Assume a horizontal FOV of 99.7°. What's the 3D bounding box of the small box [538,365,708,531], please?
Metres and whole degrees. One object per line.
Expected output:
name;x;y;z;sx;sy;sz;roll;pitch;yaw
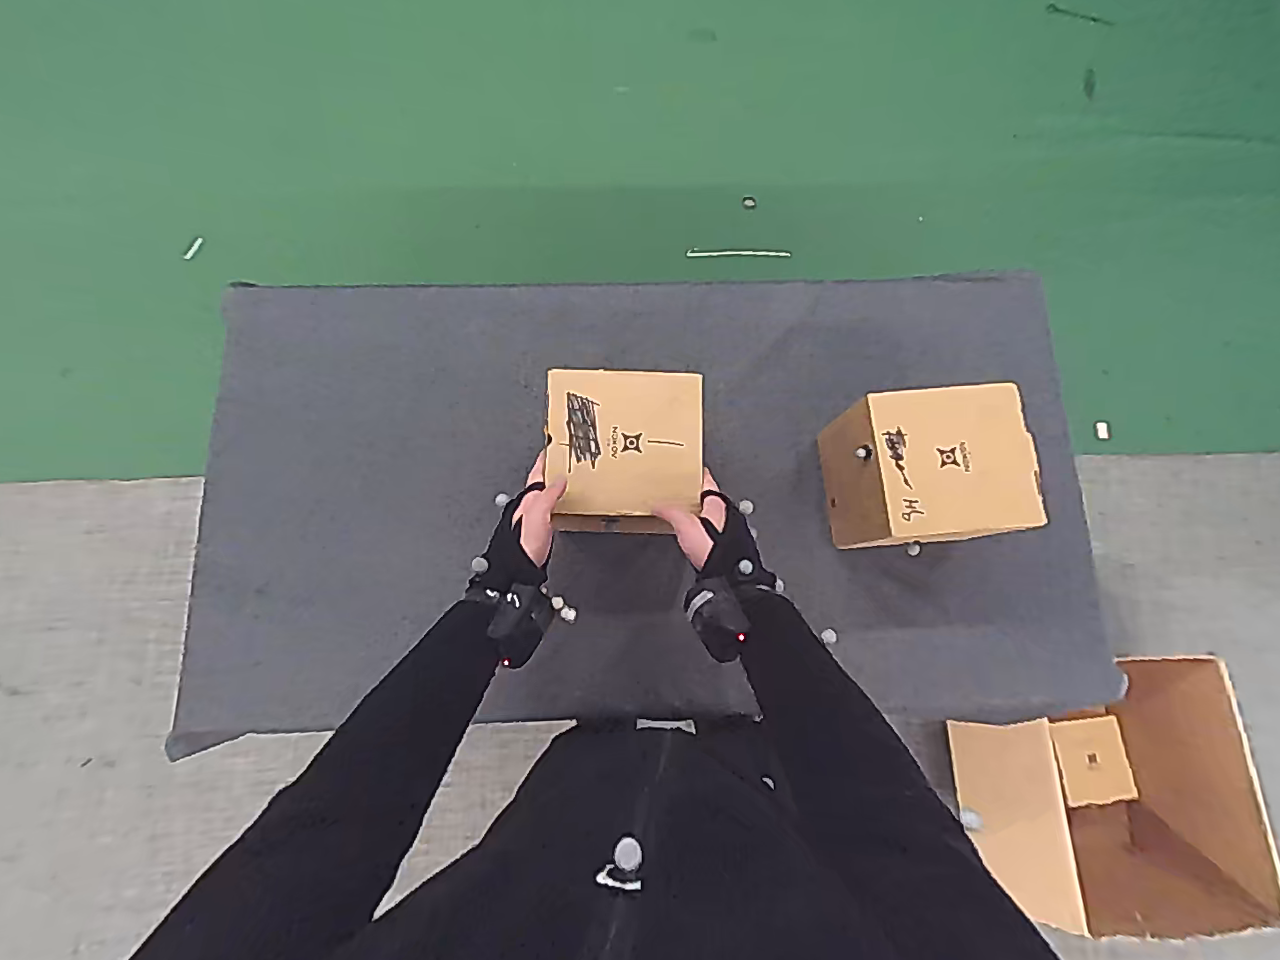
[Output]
small box;-0.017;-0.029;0.669;0.179;0.176;0.168;5;80;0

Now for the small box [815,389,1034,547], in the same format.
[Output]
small box;0.348;-0.006;0.694;0.179;0.176;0.168;-6;80;-2
